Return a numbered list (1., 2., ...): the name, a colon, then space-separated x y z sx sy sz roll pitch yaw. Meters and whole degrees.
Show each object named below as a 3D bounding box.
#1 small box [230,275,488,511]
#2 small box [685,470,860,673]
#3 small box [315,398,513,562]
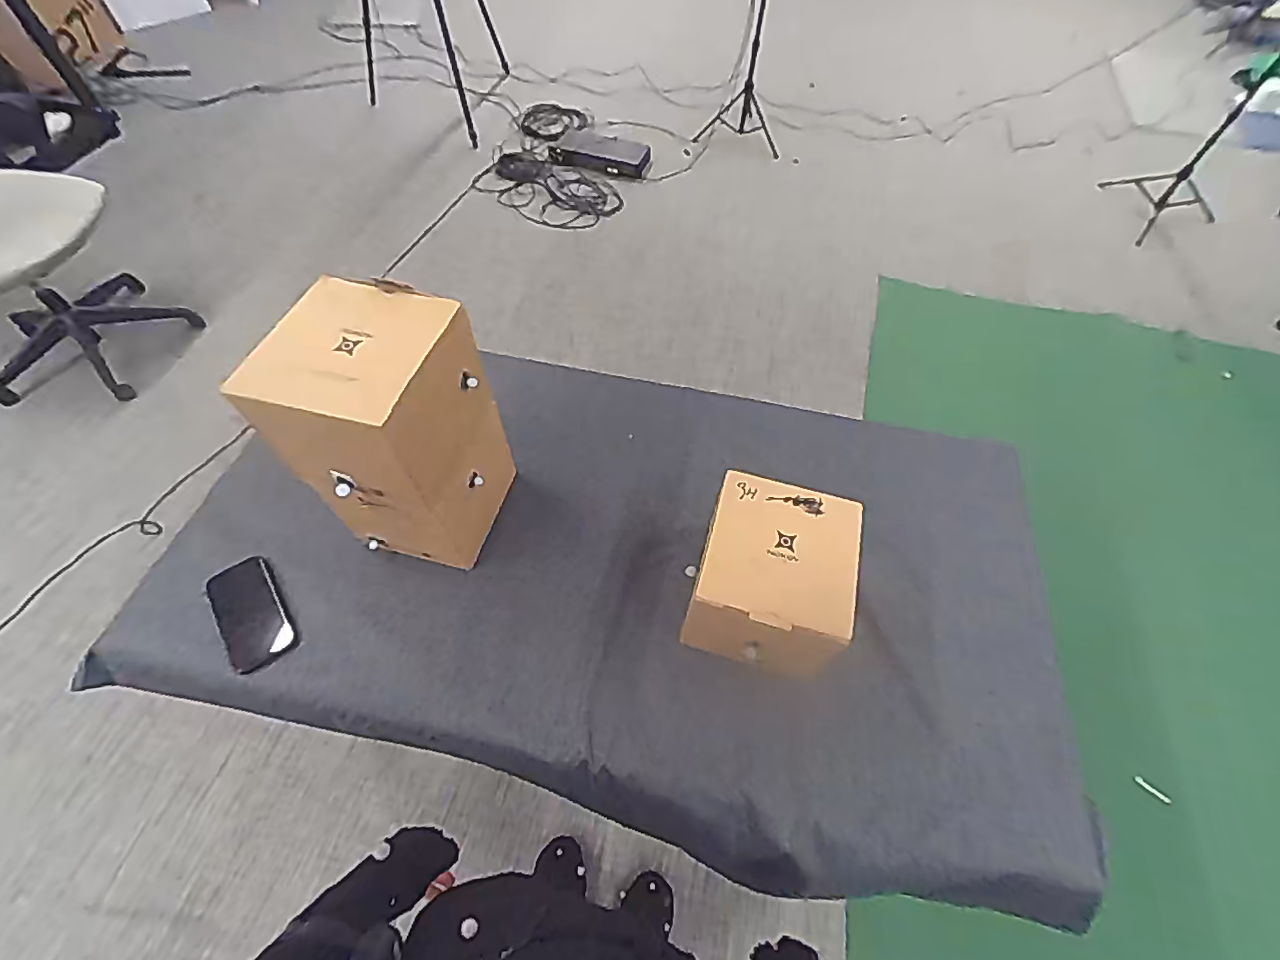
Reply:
1. small box: -0.284 -0.092 0.601 0.168 0.176 0.179 12 59 7
2. small box: 0.156 0.120 0.671 0.168 0.176 0.179 15 58 8
3. small box: -0.288 -0.009 0.740 0.168 0.176 0.179 13 57 6
